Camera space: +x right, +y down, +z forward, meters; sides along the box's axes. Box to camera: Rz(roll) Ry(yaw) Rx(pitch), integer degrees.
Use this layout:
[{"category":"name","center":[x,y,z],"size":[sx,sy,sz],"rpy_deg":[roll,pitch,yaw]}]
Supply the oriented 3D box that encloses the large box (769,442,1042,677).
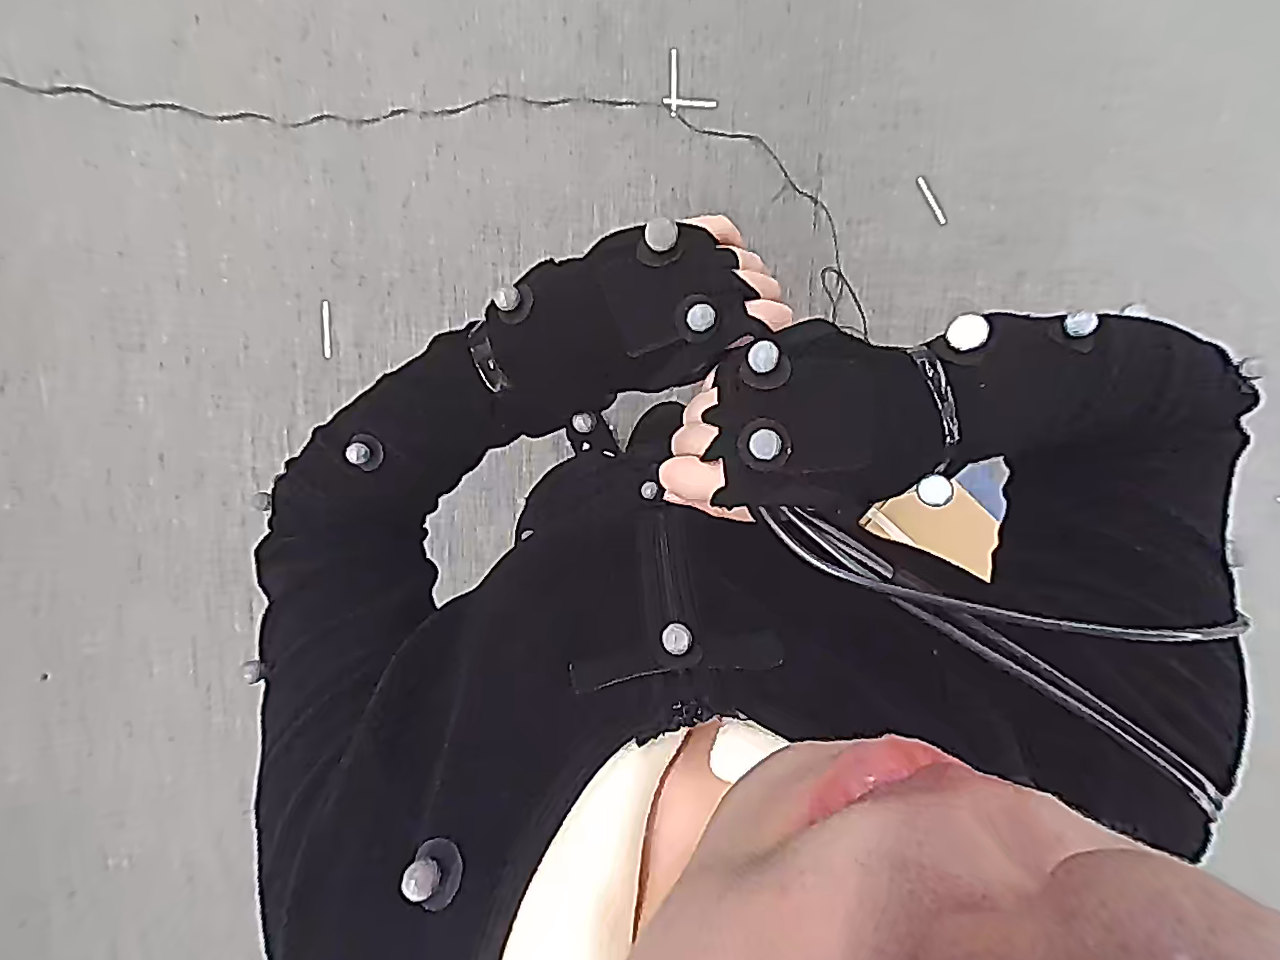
[{"category":"large box","center":[0.582,0.159,1.251],"size":[0.408,0.320,0.320],"rpy_deg":[40,93,-11]}]
